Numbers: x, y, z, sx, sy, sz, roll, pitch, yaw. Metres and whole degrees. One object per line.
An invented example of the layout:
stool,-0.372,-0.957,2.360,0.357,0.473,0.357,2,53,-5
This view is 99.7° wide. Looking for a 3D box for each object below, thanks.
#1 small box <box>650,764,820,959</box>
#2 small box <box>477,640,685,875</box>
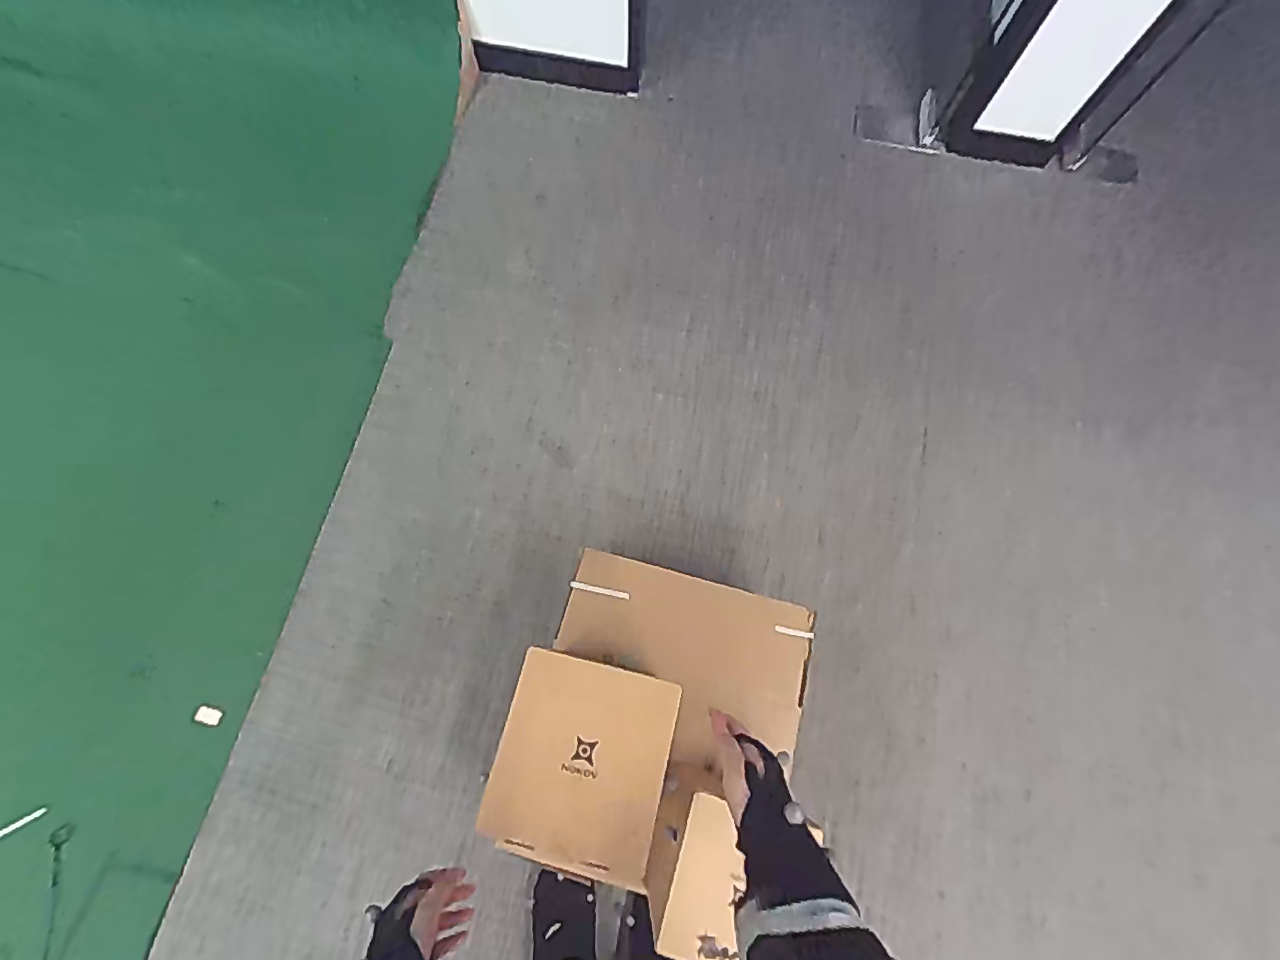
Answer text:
small box,0.114,0.497,0.709,0.168,0.176,0.179,17,71,3
small box,-0.057,0.286,0.603,0.168,0.176,0.179,15,75,3
